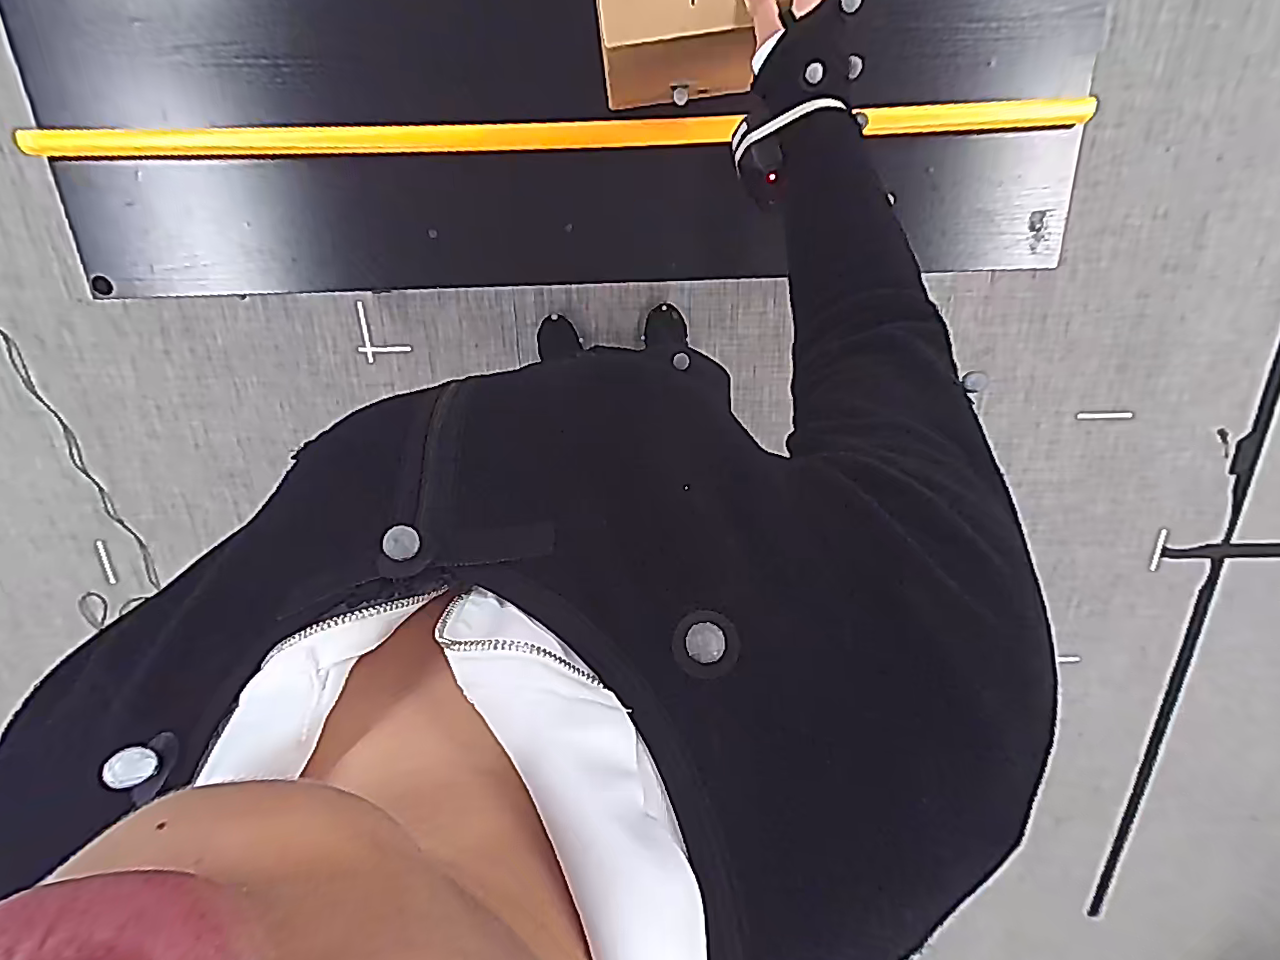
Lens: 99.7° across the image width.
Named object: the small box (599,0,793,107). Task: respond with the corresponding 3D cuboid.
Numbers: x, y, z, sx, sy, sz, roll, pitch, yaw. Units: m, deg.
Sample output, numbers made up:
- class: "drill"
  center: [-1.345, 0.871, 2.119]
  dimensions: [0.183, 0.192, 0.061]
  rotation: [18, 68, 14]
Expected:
- class: "small box"
  center: [0.041, -0.493, 0.518]
  dimensions: [0.168, 0.176, 0.179]
  rotation: [-6, 109, 2]
